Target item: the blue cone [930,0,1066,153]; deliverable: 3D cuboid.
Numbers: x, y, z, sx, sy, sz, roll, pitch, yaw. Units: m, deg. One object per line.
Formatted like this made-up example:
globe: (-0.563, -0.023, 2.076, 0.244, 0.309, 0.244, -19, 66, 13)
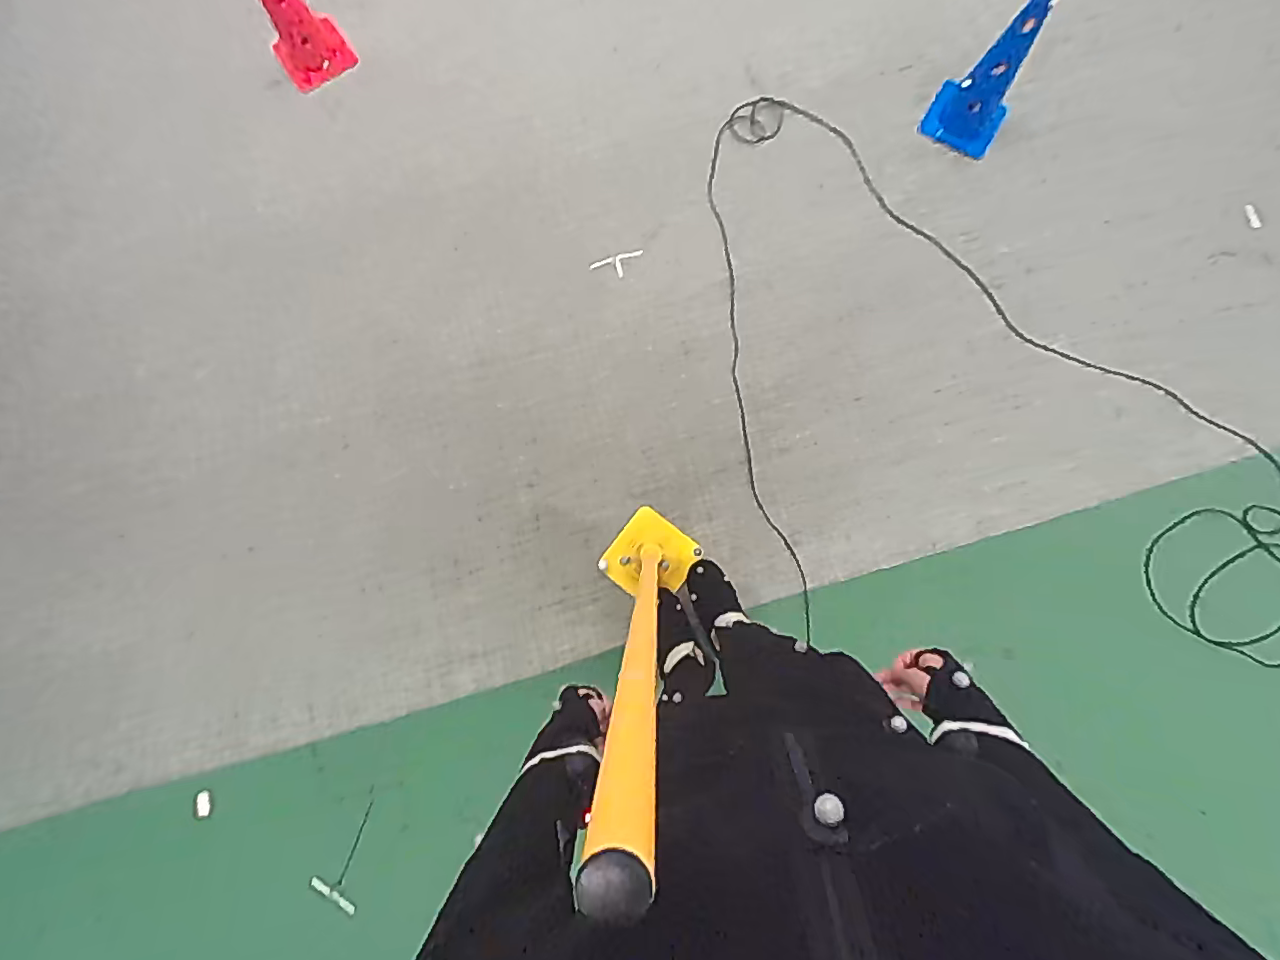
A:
blue cone: (0.920, -1.052, 1.354, 0.192, 0.380, 0.193, 29, 80, 6)
